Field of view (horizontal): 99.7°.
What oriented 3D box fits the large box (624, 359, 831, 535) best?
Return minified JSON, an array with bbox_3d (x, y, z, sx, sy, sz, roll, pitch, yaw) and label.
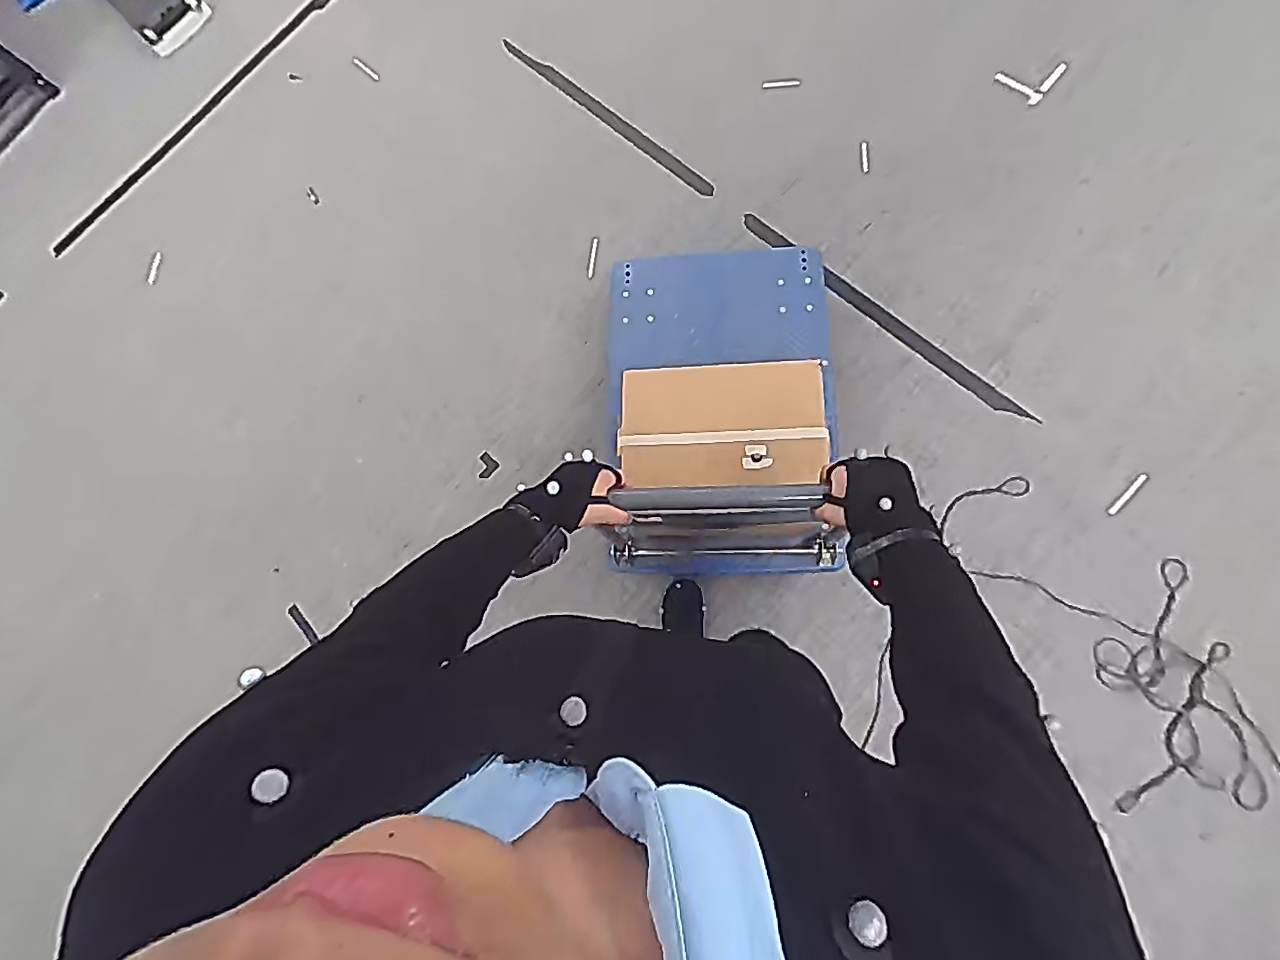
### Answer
[{"bbox_3d":[0.182,-0.053,1.224,0.408,0.320,0.320,-2,77,7],"label":"large box"}]
